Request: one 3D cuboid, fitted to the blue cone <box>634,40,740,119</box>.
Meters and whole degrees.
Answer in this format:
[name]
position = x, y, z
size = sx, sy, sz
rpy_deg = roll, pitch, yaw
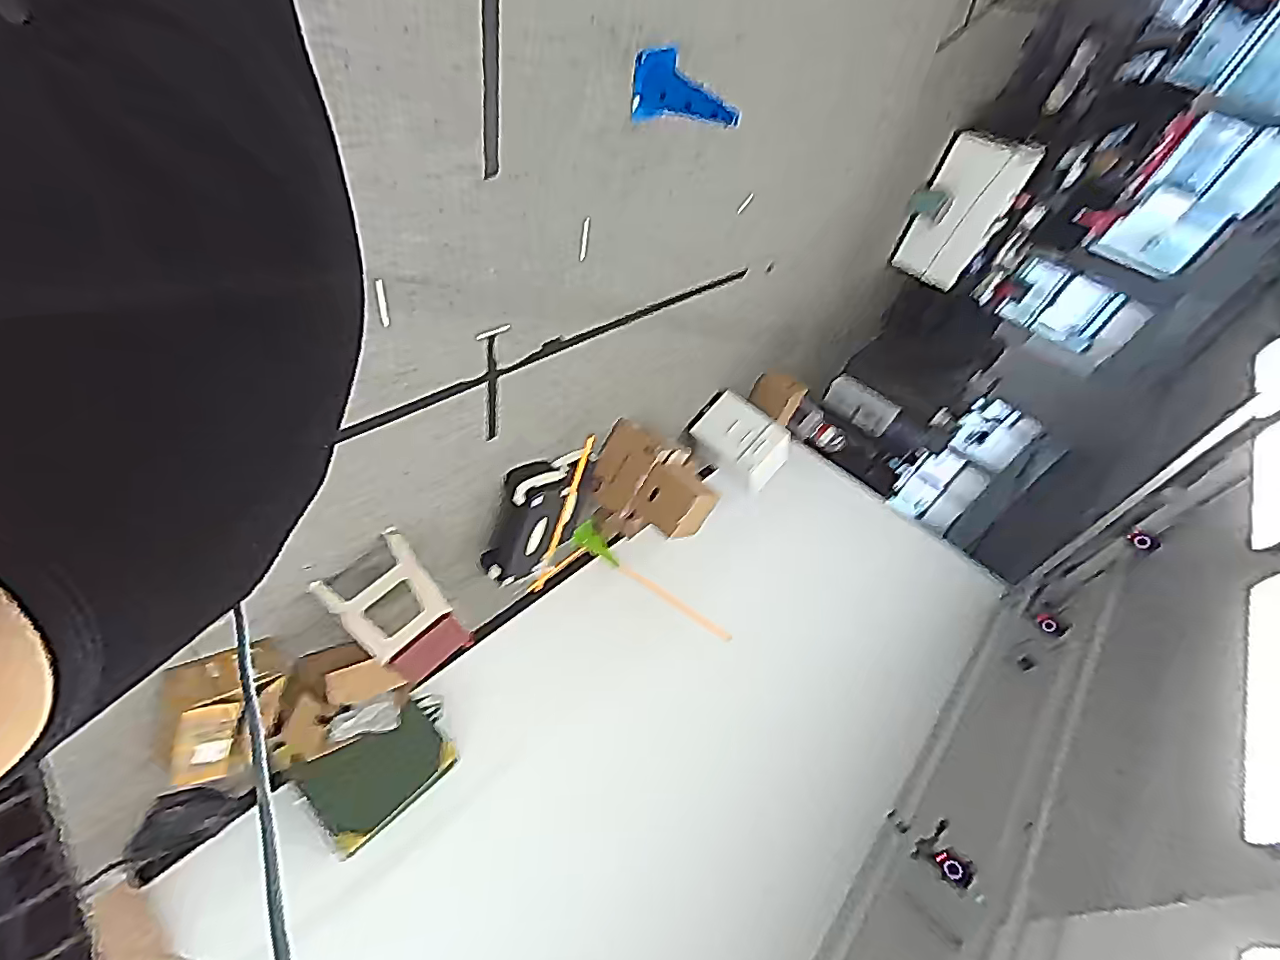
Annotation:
[blue cone]
position = 0.172, -1.244, 1.734
size = 0.192, 0.380, 0.193
rpy_deg = -36, 154, -31
